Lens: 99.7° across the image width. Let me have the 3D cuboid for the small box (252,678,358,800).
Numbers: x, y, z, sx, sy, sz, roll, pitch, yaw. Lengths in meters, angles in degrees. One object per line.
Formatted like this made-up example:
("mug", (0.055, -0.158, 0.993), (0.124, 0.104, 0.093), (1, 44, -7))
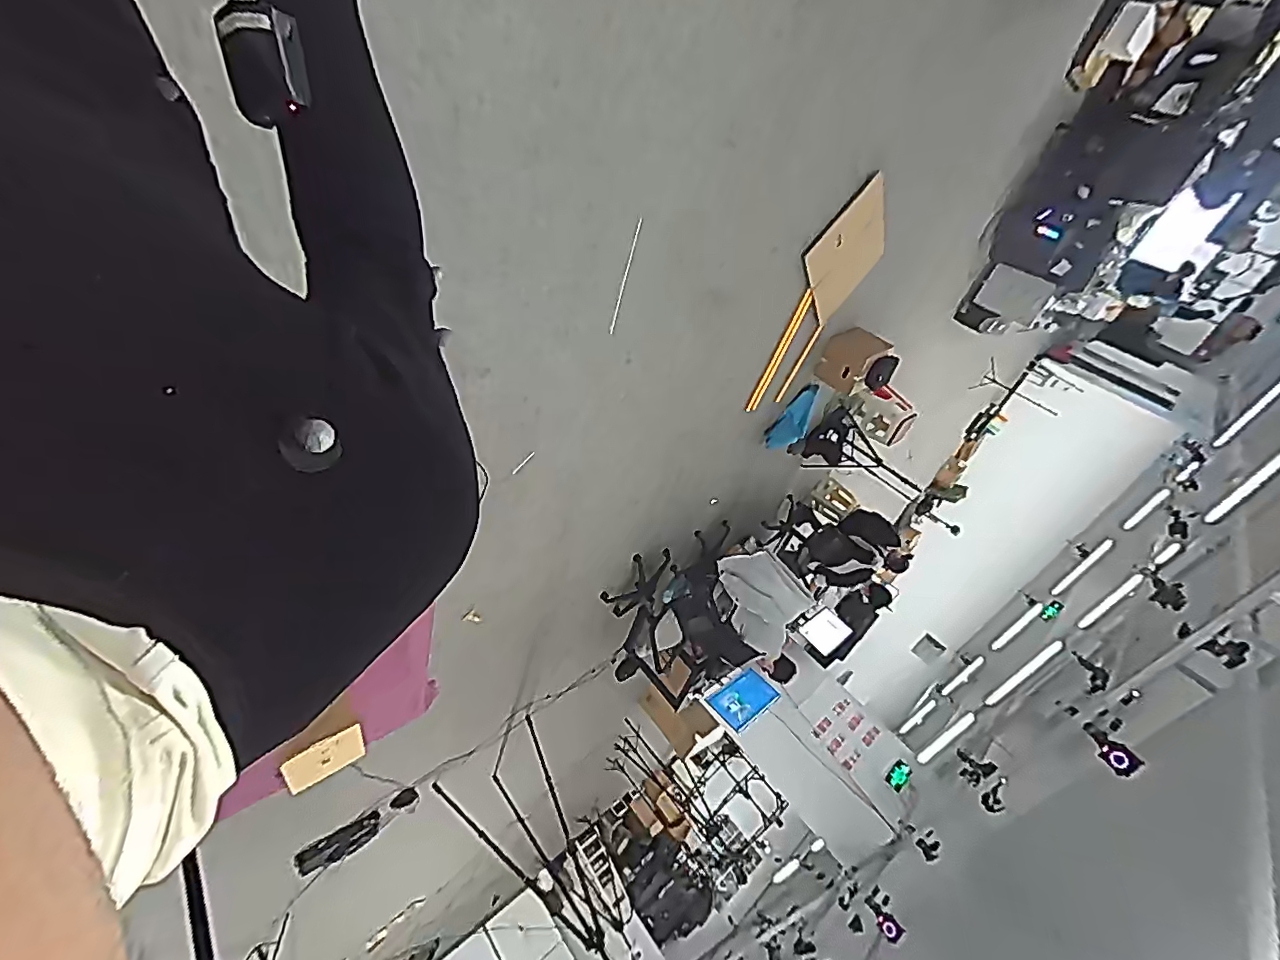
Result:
("small box", (-0.795, 0.611, 1.290), (0.168, 0.176, 0.179), (-21, 142, -39))
